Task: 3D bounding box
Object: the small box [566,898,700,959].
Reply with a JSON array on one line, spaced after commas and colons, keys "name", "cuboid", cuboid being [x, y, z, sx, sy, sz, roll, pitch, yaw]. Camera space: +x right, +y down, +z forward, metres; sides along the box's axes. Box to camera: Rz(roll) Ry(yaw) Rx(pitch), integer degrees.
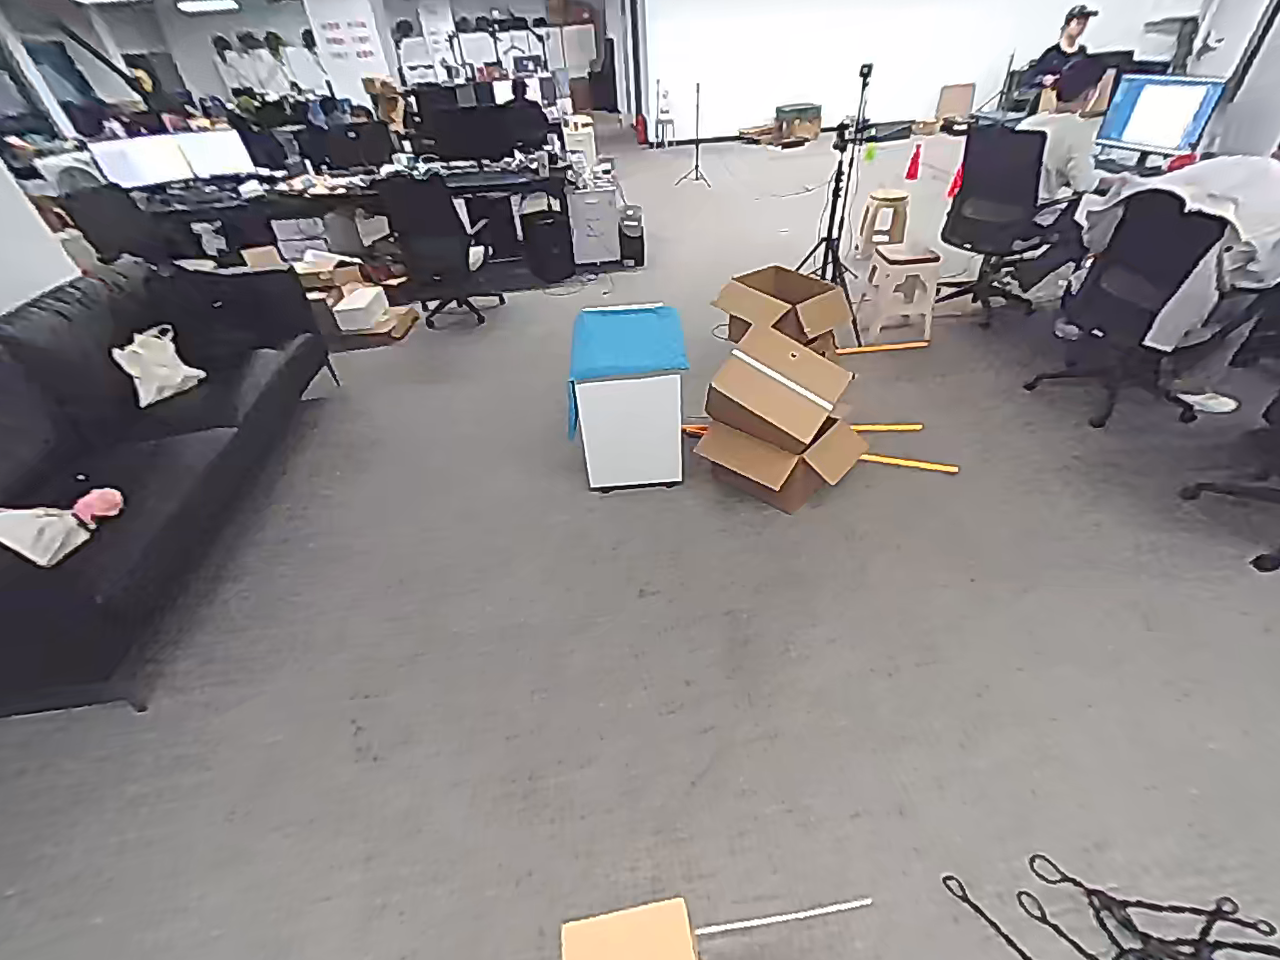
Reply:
[{"name": "small box", "cuboid": [0.003, 0.673, 0.686, 0.168, 0.176, 0.179, -10, 41, -4]}]
